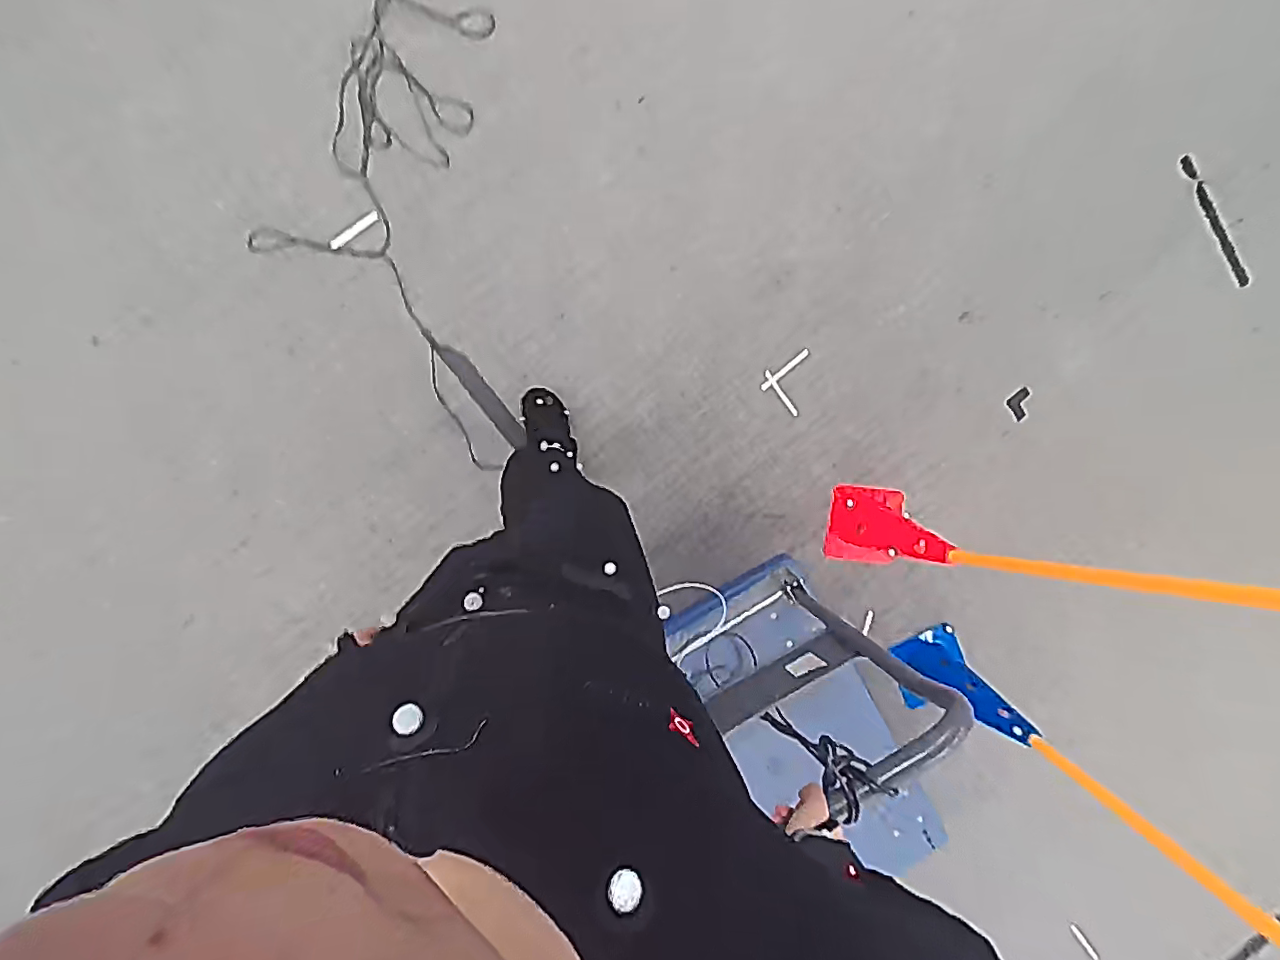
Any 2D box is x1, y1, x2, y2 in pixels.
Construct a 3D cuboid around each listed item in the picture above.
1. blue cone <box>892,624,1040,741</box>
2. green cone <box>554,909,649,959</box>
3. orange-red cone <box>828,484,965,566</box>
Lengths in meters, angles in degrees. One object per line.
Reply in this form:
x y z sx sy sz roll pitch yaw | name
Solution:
0.817 0.526 1.324 0.193 0.380 0.192 -23 97 -3 | blue cone
-0.087 1.287 1.287 0.202 0.368 0.200 38 90 -7 | green cone
0.616 0.137 1.249 0.198 0.360 0.199 7 96 -6 | orange-red cone
